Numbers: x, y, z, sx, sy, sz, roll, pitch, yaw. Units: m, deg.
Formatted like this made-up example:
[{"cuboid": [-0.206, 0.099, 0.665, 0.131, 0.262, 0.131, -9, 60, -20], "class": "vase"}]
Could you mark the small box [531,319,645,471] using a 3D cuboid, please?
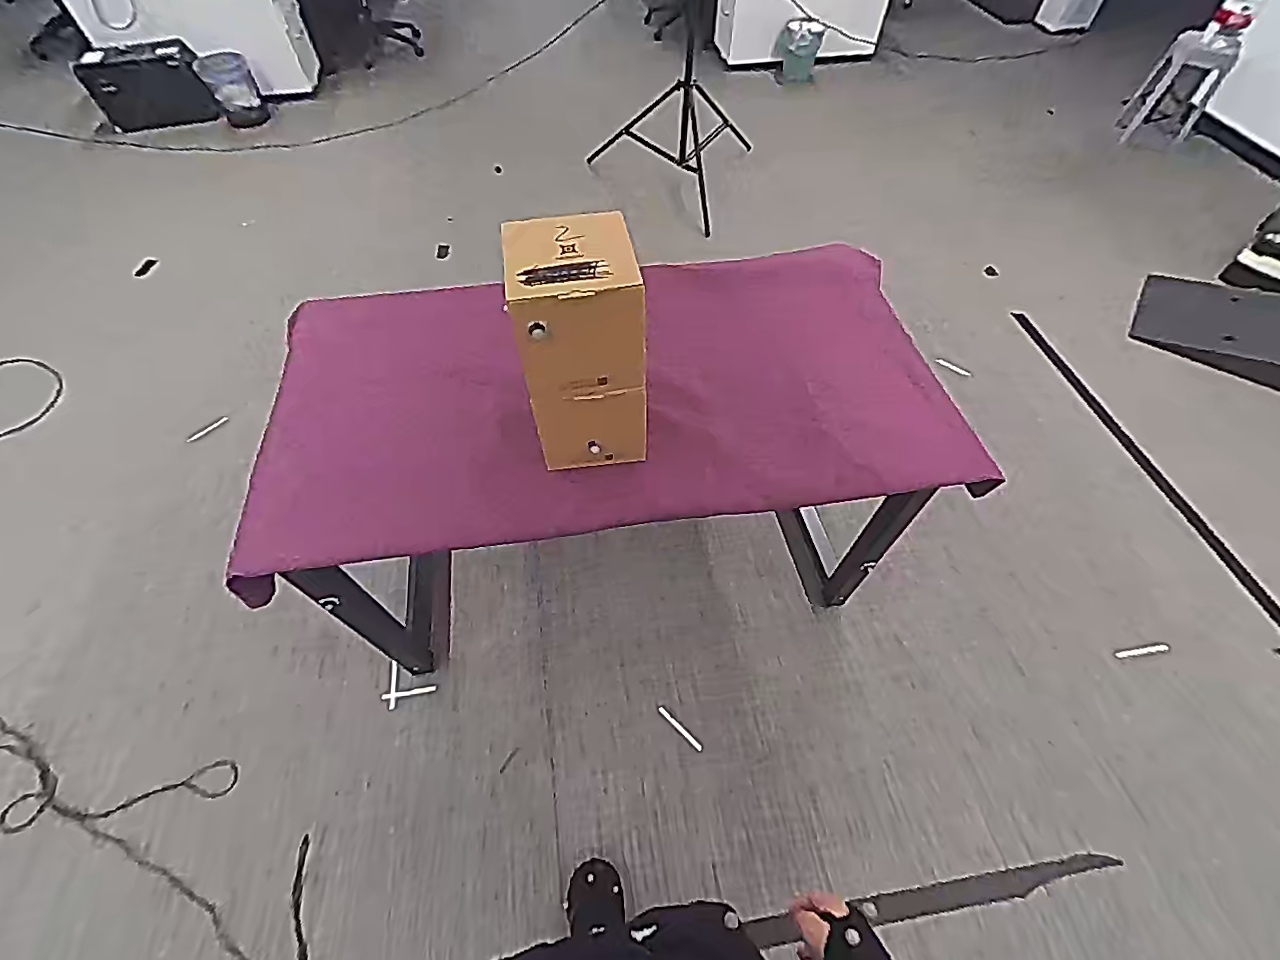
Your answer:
[{"cuboid": [-0.084, -0.137, 0.886, 0.168, 0.176, 0.179, -7, 55, -4], "class": "small box"}]
